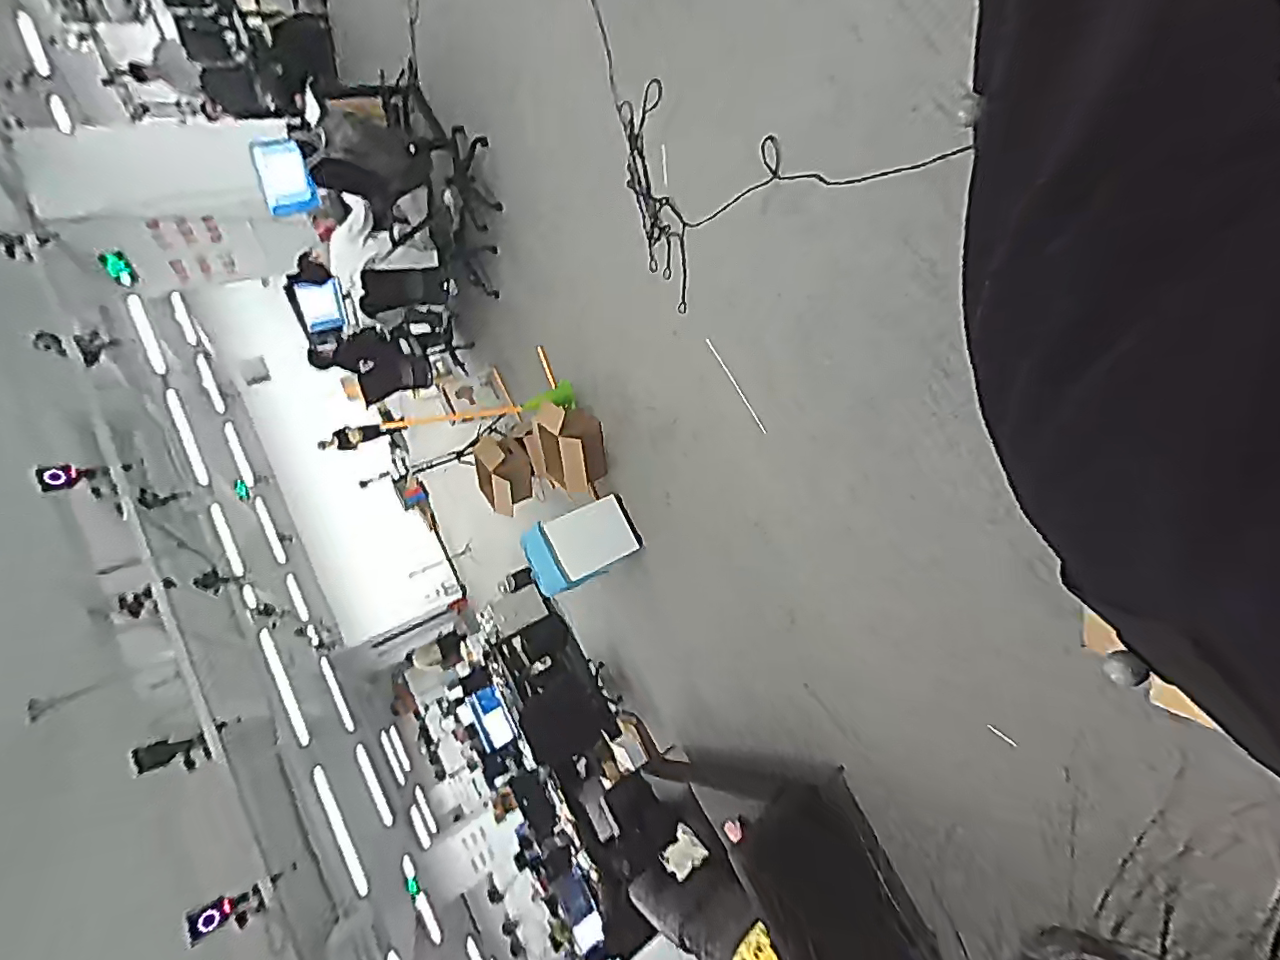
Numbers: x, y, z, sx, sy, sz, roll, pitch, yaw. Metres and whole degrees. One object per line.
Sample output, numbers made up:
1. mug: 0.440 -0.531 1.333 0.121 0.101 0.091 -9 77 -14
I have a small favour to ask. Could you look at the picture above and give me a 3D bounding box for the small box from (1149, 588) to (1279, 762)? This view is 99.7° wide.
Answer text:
1. small box: 1.000 0.313 0.903 0.168 0.176 0.179 20 128 55
